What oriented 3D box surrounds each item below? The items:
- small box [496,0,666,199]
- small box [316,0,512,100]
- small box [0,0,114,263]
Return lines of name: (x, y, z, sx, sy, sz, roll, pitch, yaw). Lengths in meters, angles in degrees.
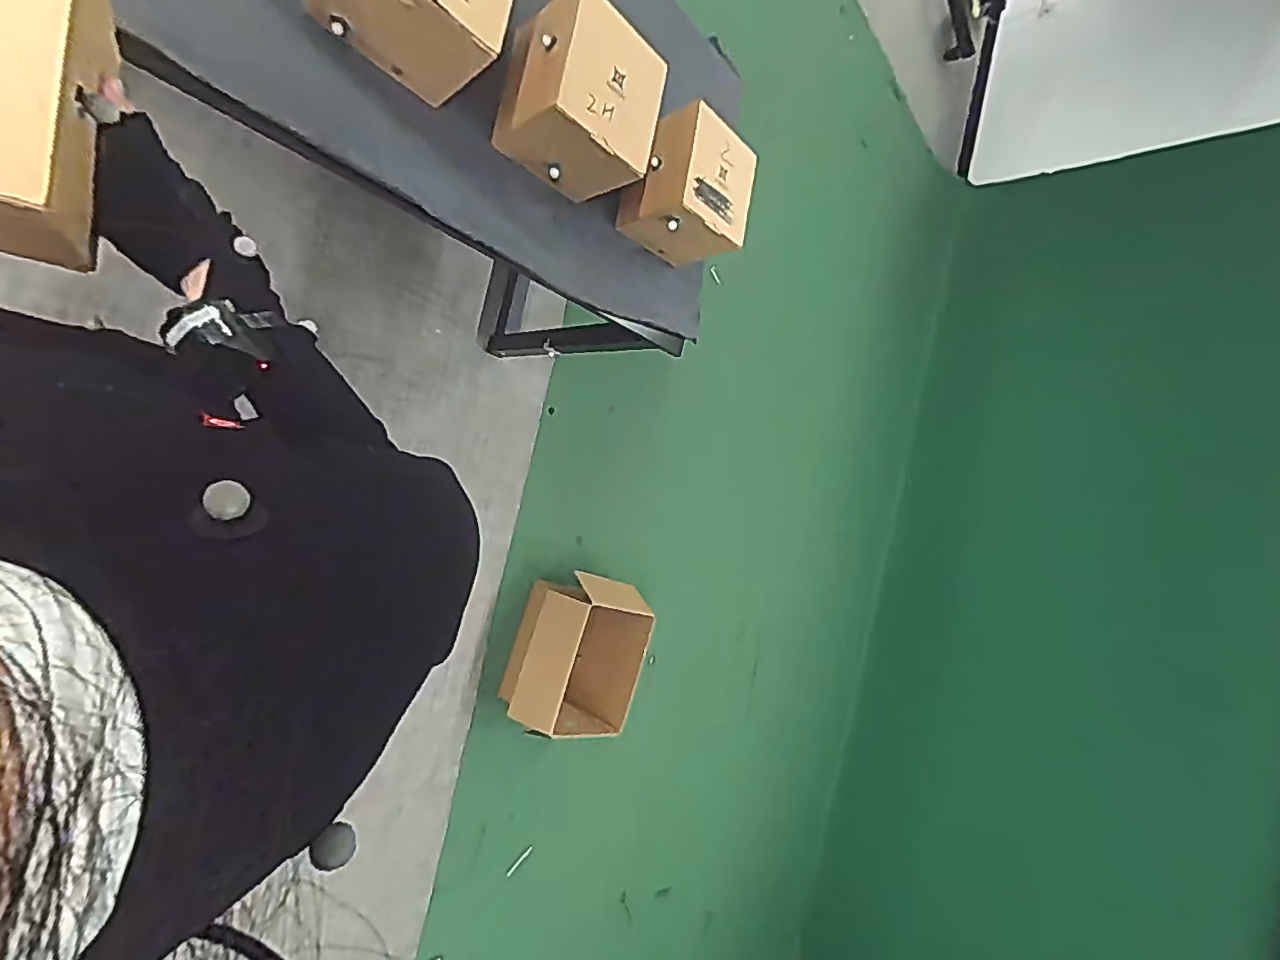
small box: (-0.090, -0.553, 0.796, 0.168, 0.176, 0.179, 13, 88, -45)
small box: (-0.256, -0.593, 0.625, 0.168, 0.176, 0.179, 16, 85, -46)
small box: (-0.424, -0.248, 0.305, 0.168, 0.176, 0.179, 6, 92, -41)
